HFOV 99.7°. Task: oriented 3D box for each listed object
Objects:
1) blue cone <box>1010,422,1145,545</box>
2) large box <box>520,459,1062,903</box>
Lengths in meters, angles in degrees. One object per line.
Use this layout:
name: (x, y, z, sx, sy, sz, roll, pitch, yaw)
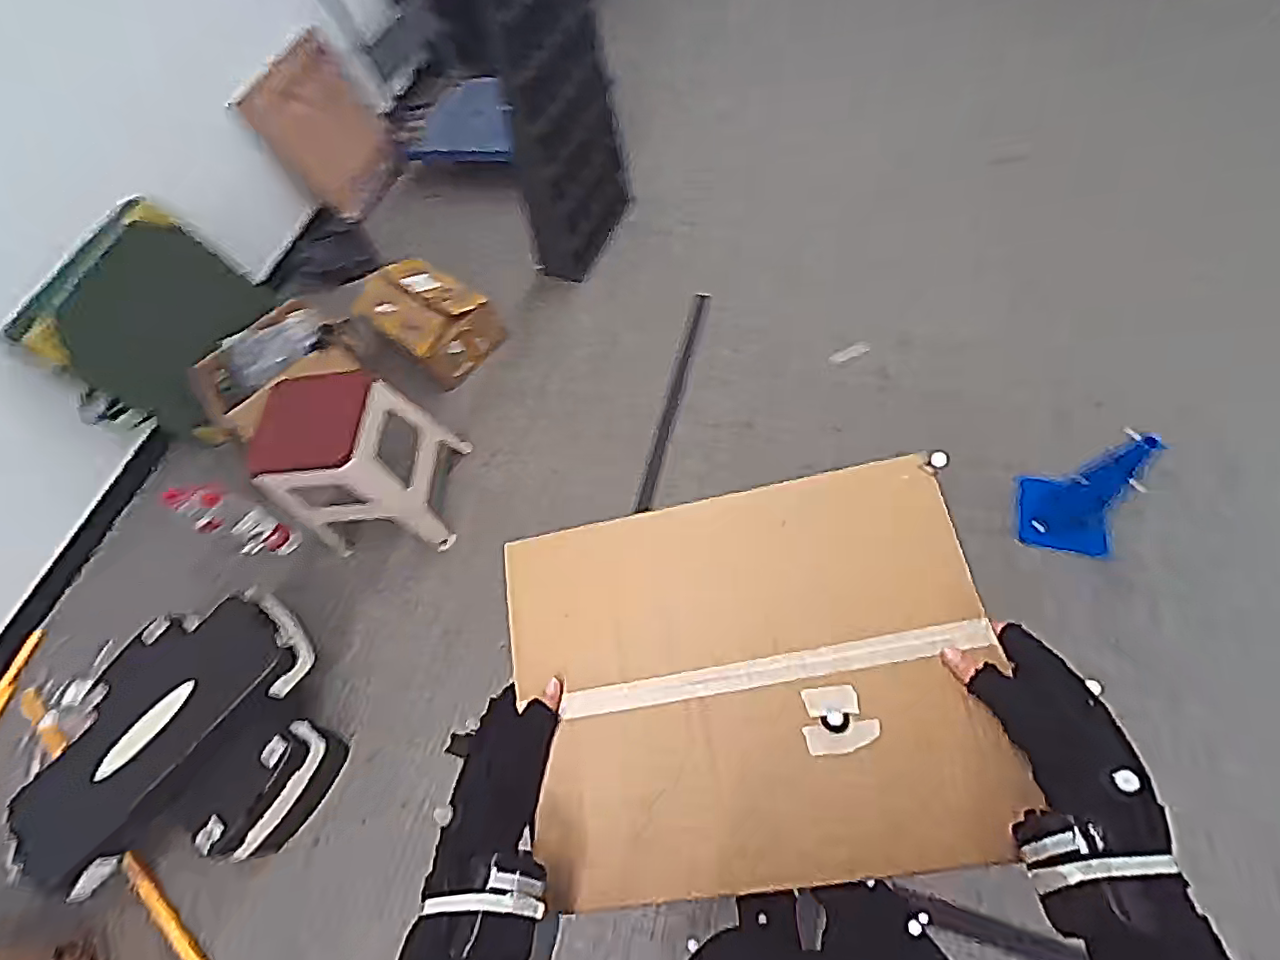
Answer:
blue cone: (1.033, -0.007, 1.249, 0.193, 0.380, 0.192, 12, 65, 17)
large box: (0.122, 0.209, 0.605, 0.408, 0.320, 0.320, -12, 71, 8)
